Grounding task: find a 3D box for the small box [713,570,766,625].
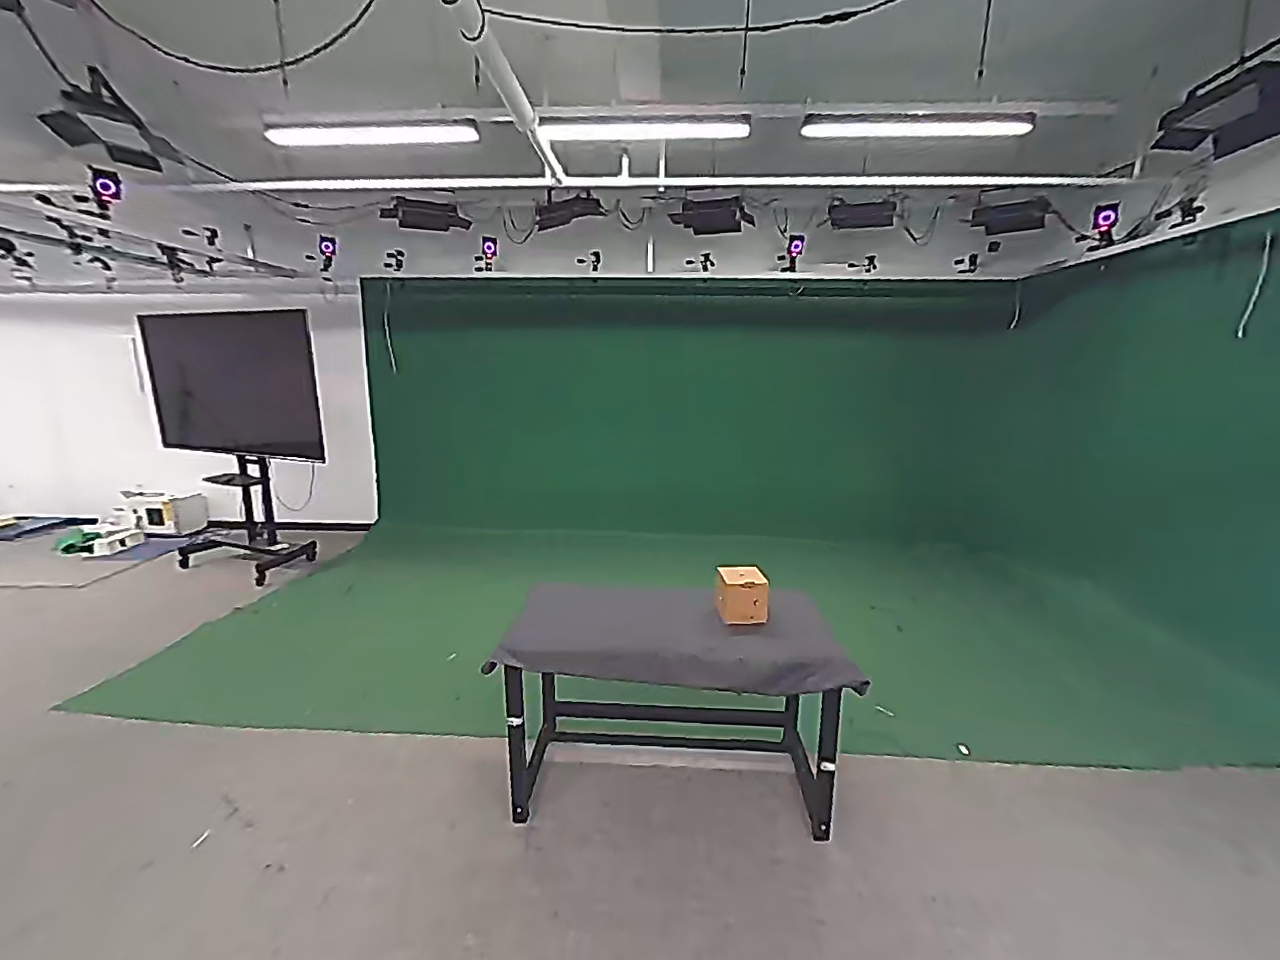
[{"bbox_3d":[0.389,0.464,2.132,0.168,0.176,0.179,2,10,-6],"label":"small box"}]
